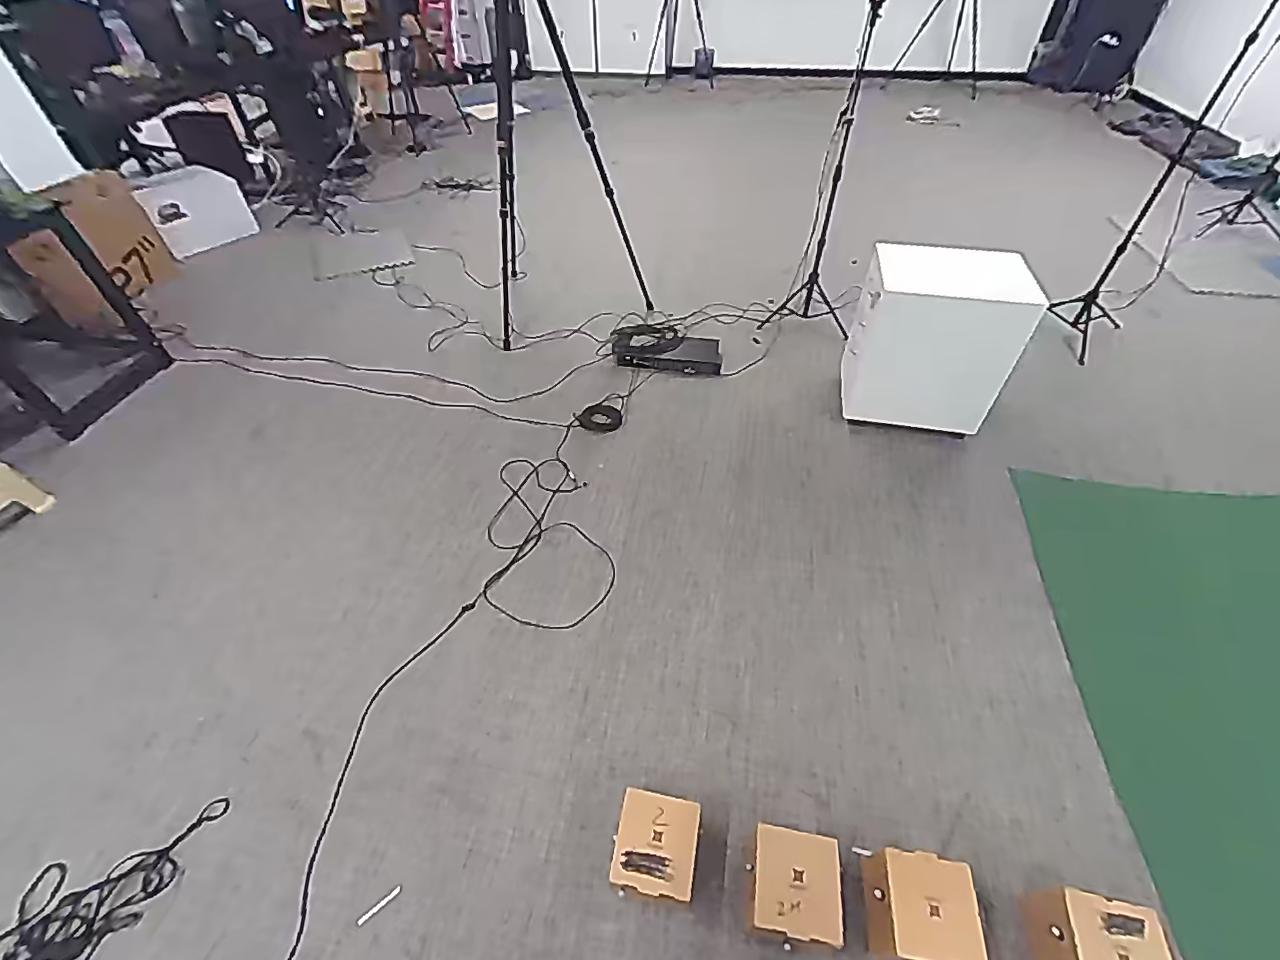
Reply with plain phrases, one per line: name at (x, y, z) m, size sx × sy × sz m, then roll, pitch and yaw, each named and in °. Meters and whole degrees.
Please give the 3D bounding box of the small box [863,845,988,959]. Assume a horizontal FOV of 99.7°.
small box at (0.565, 0.873, 1.093) m, size 0.168 × 0.176 × 0.179 m, roll 7°, pitch 46°, yaw 7°

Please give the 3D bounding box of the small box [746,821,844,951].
small box at (0.314, 0.842, 1.121) m, size 0.168 × 0.176 × 0.179 m, roll 7°, pitch 47°, yaw 8°

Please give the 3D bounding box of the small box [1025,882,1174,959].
small box at (0.885, 0.917, 1.045) m, size 0.168 × 0.176 × 0.179 m, roll 9°, pitch 48°, yaw 10°
